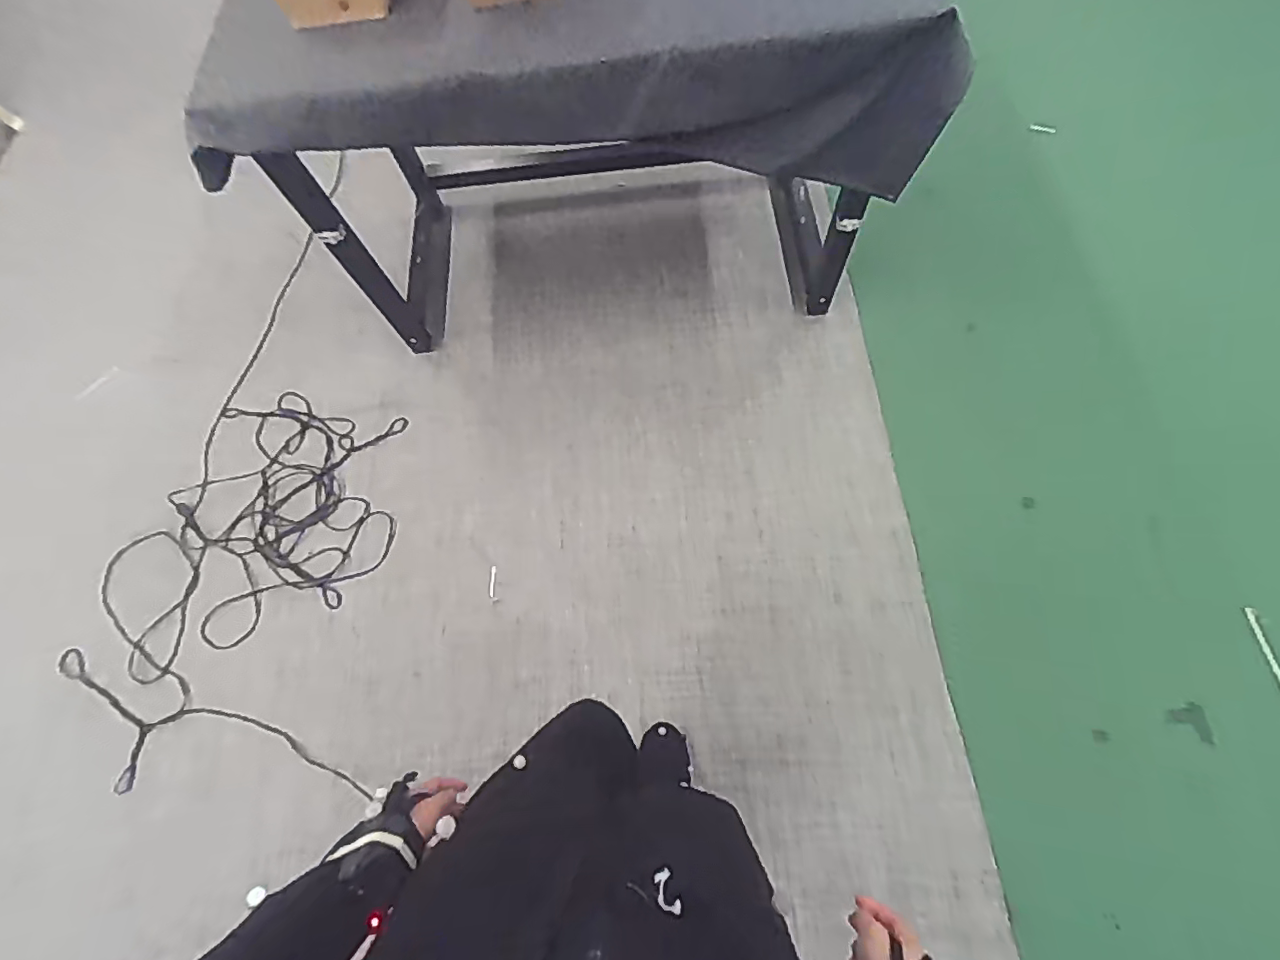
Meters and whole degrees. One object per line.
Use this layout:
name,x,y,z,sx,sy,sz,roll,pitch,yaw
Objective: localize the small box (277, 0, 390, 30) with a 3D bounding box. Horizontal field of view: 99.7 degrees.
small box,-0.520,-0.870,0.876,0.168,0.176,0.179,-6,67,2
